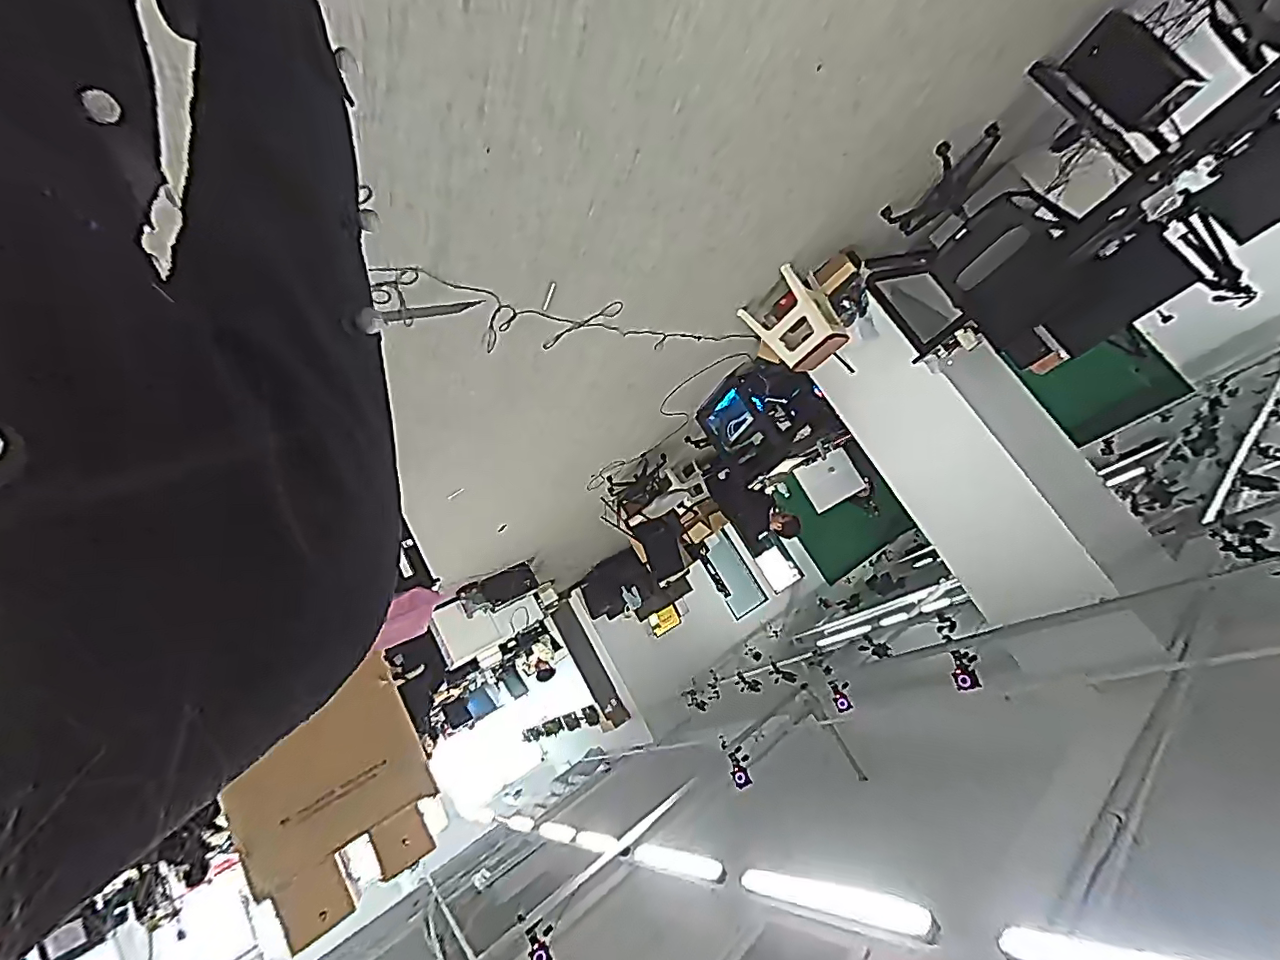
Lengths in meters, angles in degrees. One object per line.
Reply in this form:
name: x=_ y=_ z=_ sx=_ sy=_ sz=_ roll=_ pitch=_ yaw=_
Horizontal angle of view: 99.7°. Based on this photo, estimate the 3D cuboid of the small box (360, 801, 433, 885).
small box: x=-0.846 y=1.248 z=1.867 sx=0.179 sy=0.176 sz=0.168 roll=-22 pitch=166 yaw=-38
